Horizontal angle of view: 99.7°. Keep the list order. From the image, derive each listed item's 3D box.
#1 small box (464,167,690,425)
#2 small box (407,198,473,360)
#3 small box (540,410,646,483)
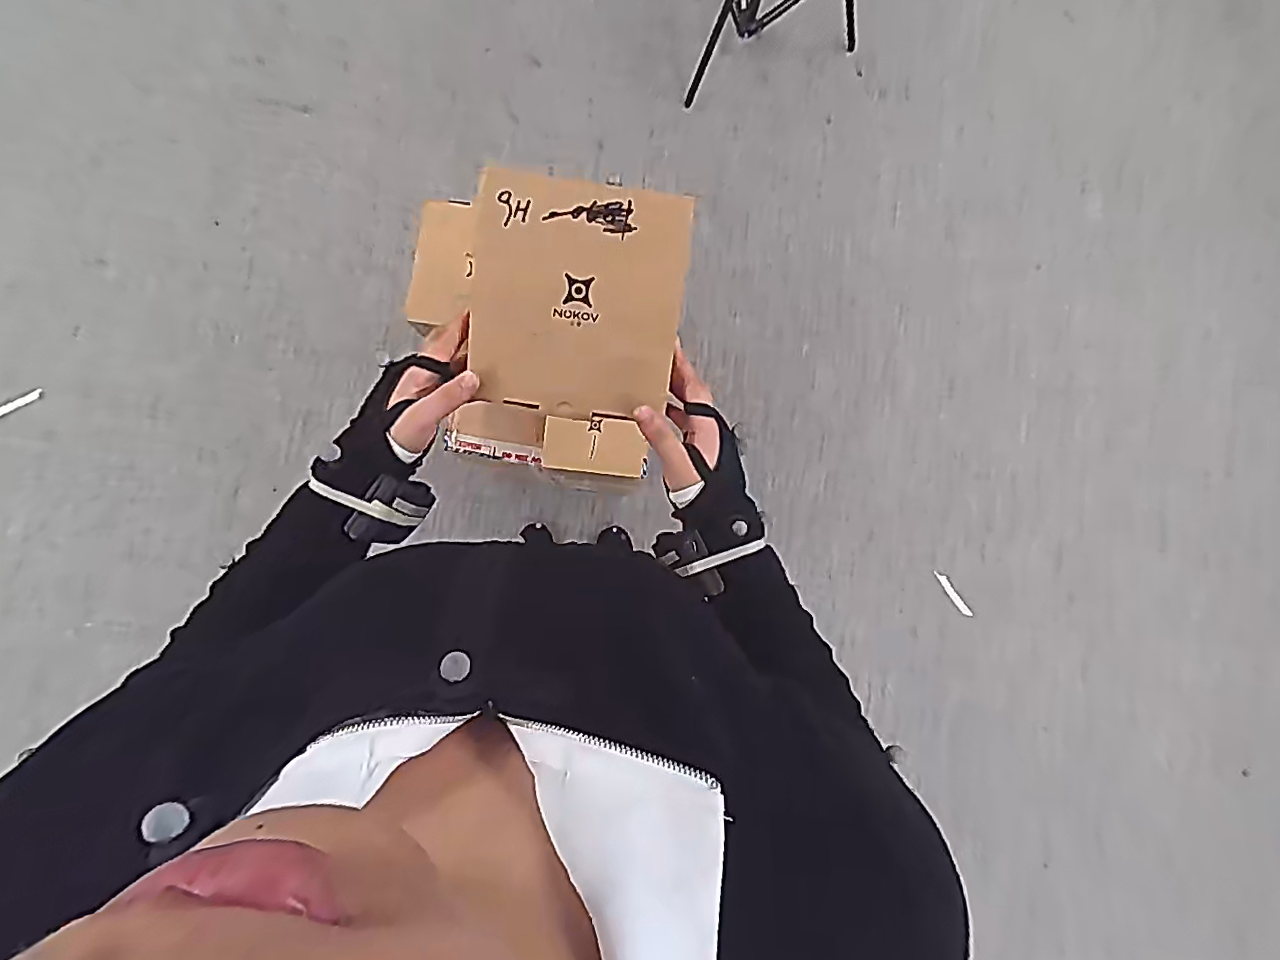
[{"bbox_3d":[-0.053,-0.159,0.501,0.168,0.176,0.179,7,104,-2],"label":"small box"},{"bbox_3d":[-0.222,-0.279,0.804,0.168,0.176,0.179,8,87,-2],"label":"small box"},{"bbox_3d":[-0.080,-0.093,0.966,0.168,0.176,0.179,7,87,-5],"label":"small box"}]
